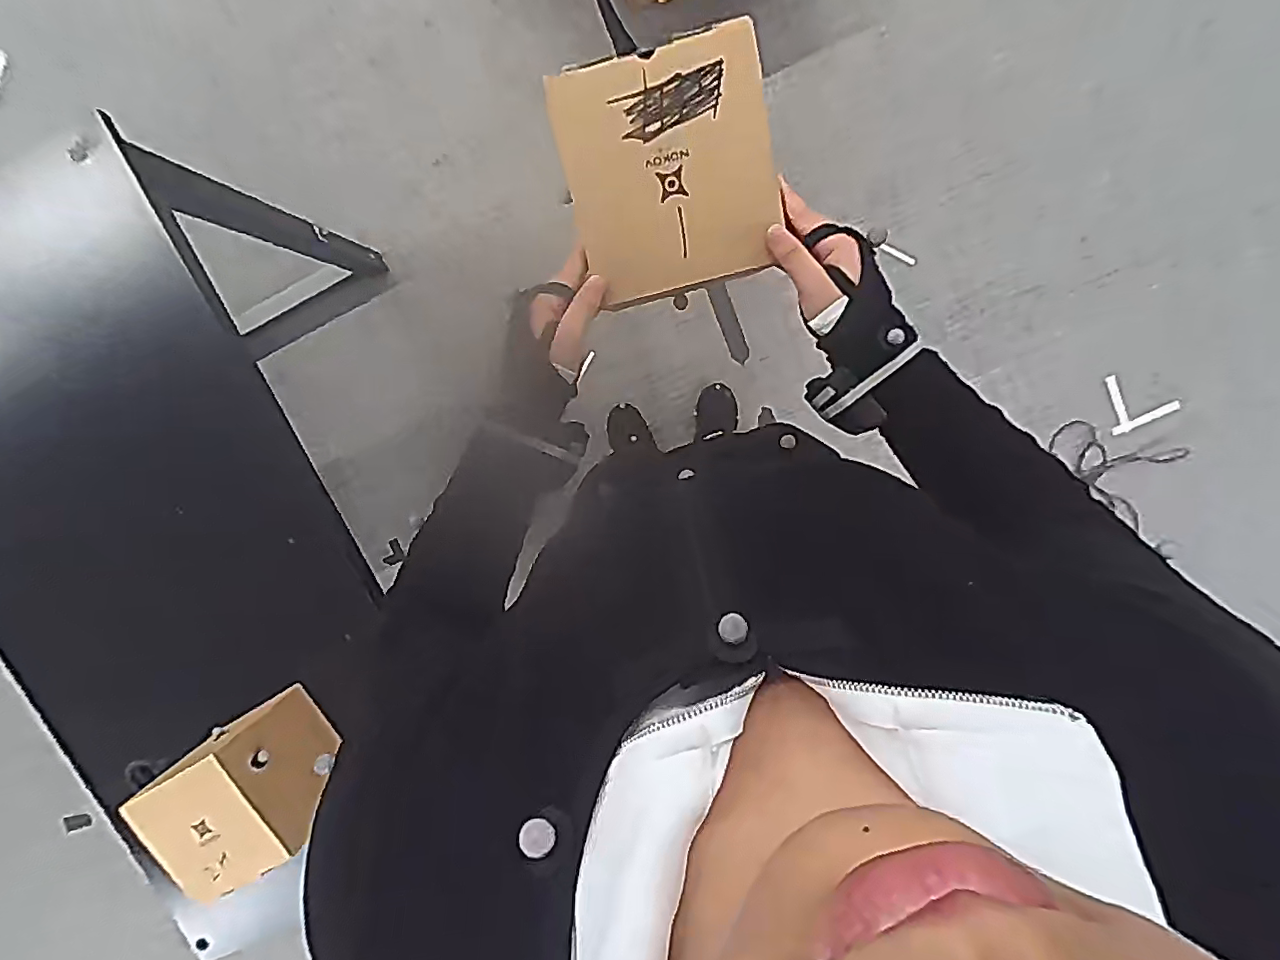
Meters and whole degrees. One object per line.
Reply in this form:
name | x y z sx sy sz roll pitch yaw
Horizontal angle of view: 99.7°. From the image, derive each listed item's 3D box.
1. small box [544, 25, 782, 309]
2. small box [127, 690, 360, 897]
small box | 0.021 -0.268 0.512 0.168 0.176 0.179 -13 107 5
small box | -0.560 0.438 0.789 0.168 0.176 0.179 -31 98 8
